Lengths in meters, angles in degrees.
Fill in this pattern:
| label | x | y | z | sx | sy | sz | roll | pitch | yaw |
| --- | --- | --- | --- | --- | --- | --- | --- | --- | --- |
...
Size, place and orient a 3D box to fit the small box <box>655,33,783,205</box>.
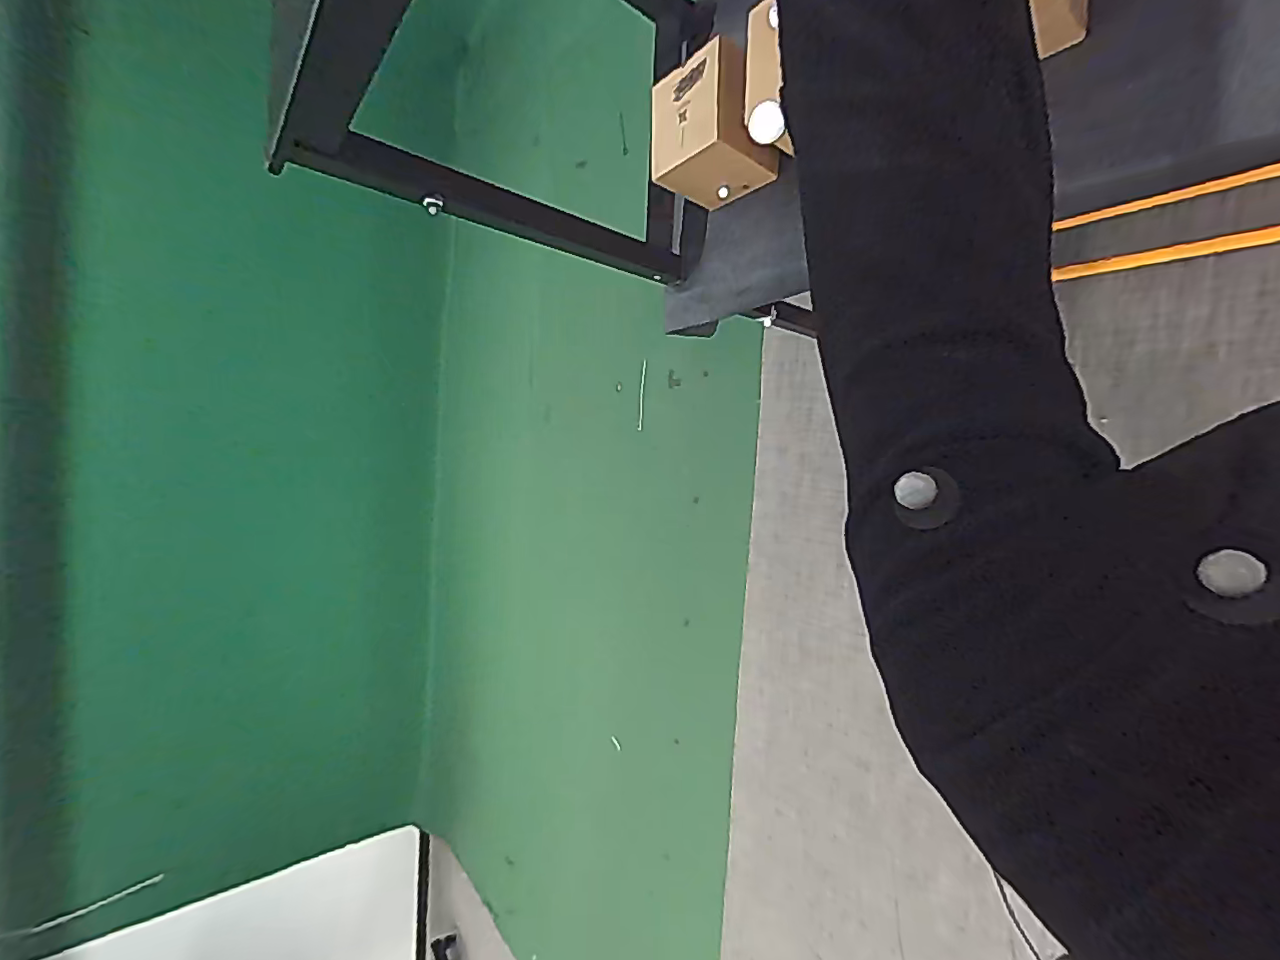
| label | x | y | z | sx | sy | sz | roll | pitch | yaw |
| --- | --- | --- | --- | --- | --- | --- | --- | --- | --- |
| small box | 0.145 | -0.641 | 0.988 | 0.168 | 0.176 | 0.179 | 2 | 91 | 51 |
